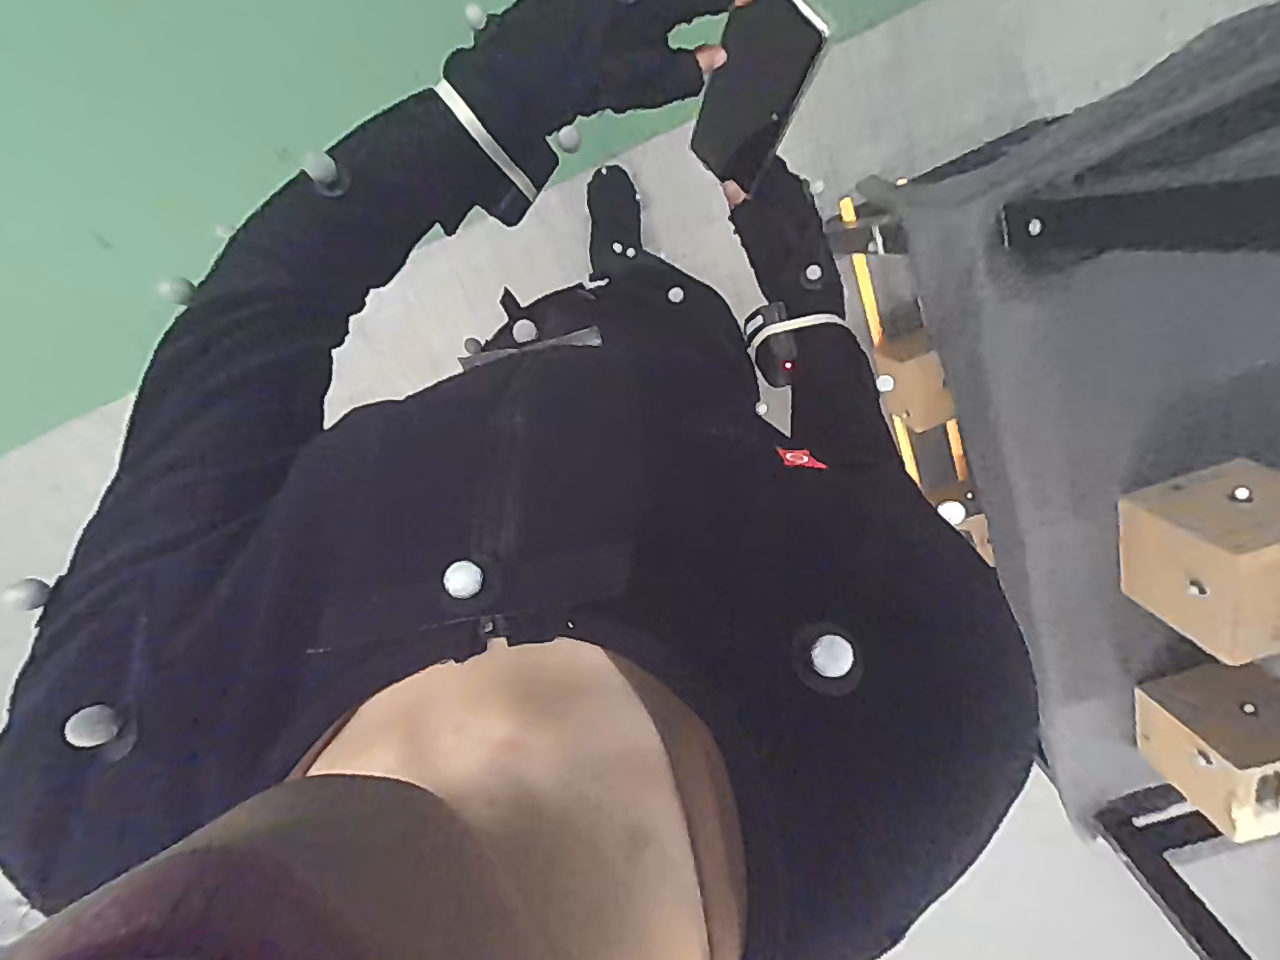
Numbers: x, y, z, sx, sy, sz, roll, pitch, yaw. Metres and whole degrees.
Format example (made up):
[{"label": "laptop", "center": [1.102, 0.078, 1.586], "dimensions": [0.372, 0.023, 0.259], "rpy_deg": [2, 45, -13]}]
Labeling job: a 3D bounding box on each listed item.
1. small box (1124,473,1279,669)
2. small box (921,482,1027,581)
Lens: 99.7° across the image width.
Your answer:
[{"label": "small box", "center": [0.787, 0.106, 0.710], "dimensions": [0.168, 0.176, 0.179], "rpy_deg": [-19, 111, 7]}, {"label": "small box", "center": [0.851, 0.128, 1.394], "dimensions": [0.179, 0.176, 0.168], "rpy_deg": [-19, 112, 7]}]
